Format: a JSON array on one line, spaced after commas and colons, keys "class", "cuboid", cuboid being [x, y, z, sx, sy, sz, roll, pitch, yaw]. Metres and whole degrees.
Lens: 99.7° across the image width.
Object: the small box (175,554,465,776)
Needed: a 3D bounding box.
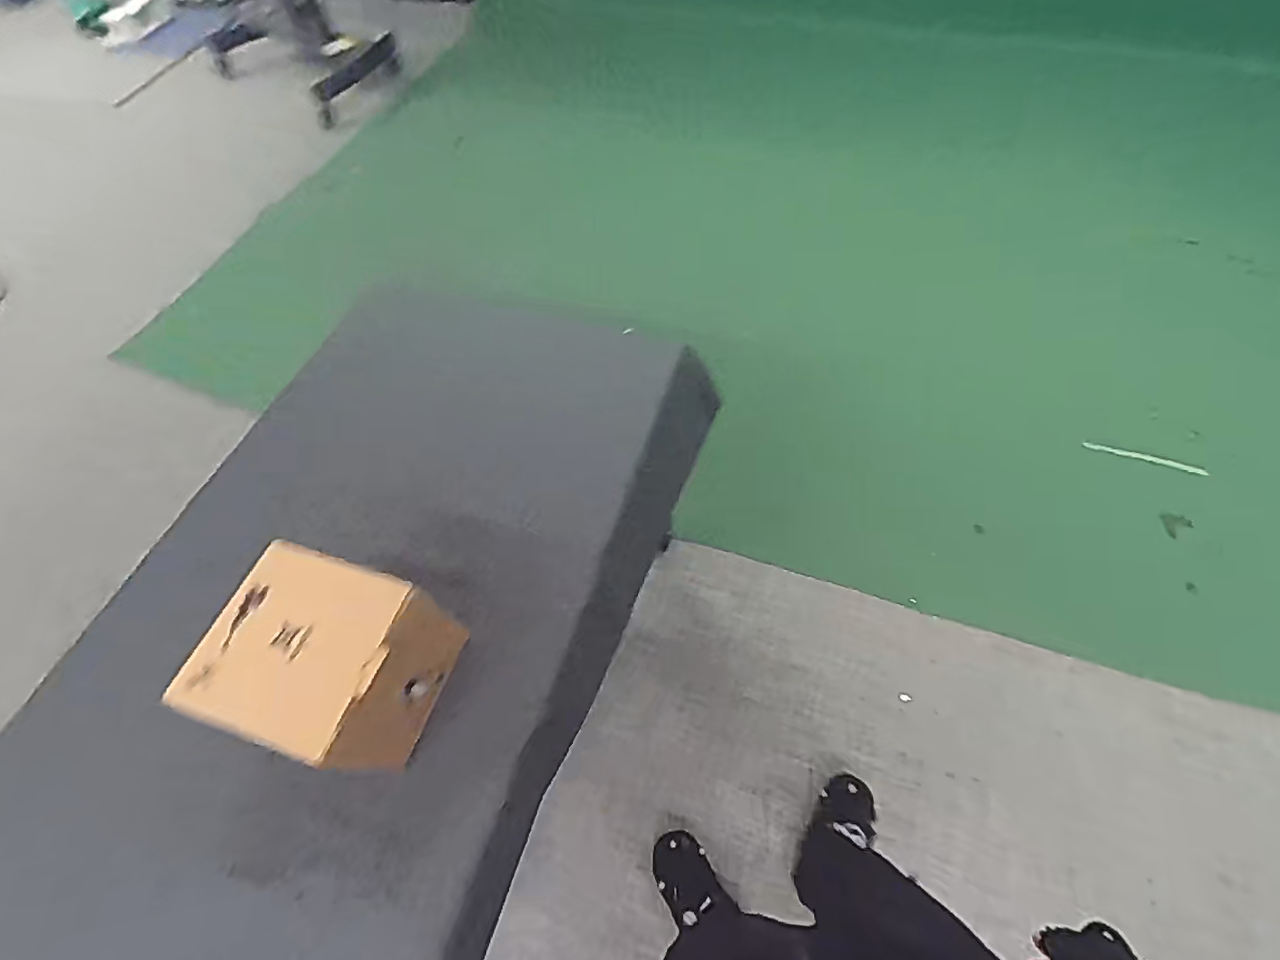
[{"class": "small box", "cuboid": [-0.320, 0.204, 0.588, 0.179, 0.176, 0.168, 13, 62, 12]}]
